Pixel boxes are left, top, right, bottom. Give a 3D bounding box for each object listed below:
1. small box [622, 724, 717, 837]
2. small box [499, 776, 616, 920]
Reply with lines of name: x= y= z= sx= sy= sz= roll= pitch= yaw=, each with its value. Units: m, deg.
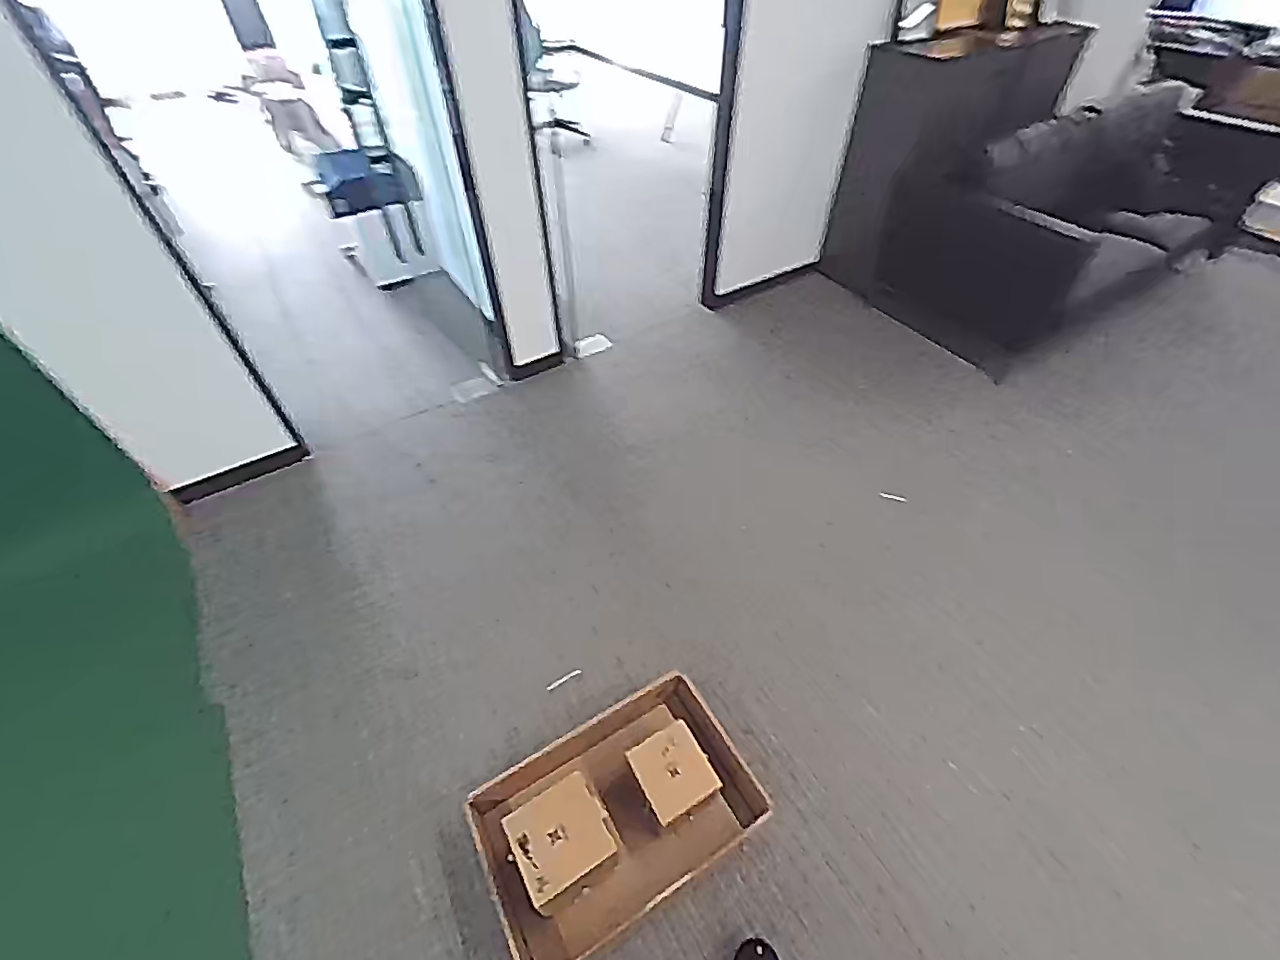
small box: x=0.069 y=0.738 z=1.319 sx=0.168 sy=0.176 sz=0.179 roll=-23 pitch=52 yaw=-20
small box: x=-0.163 y=0.743 z=1.093 sx=0.179 sy=0.176 sz=0.168 roll=-23 pitch=51 yaw=-22
